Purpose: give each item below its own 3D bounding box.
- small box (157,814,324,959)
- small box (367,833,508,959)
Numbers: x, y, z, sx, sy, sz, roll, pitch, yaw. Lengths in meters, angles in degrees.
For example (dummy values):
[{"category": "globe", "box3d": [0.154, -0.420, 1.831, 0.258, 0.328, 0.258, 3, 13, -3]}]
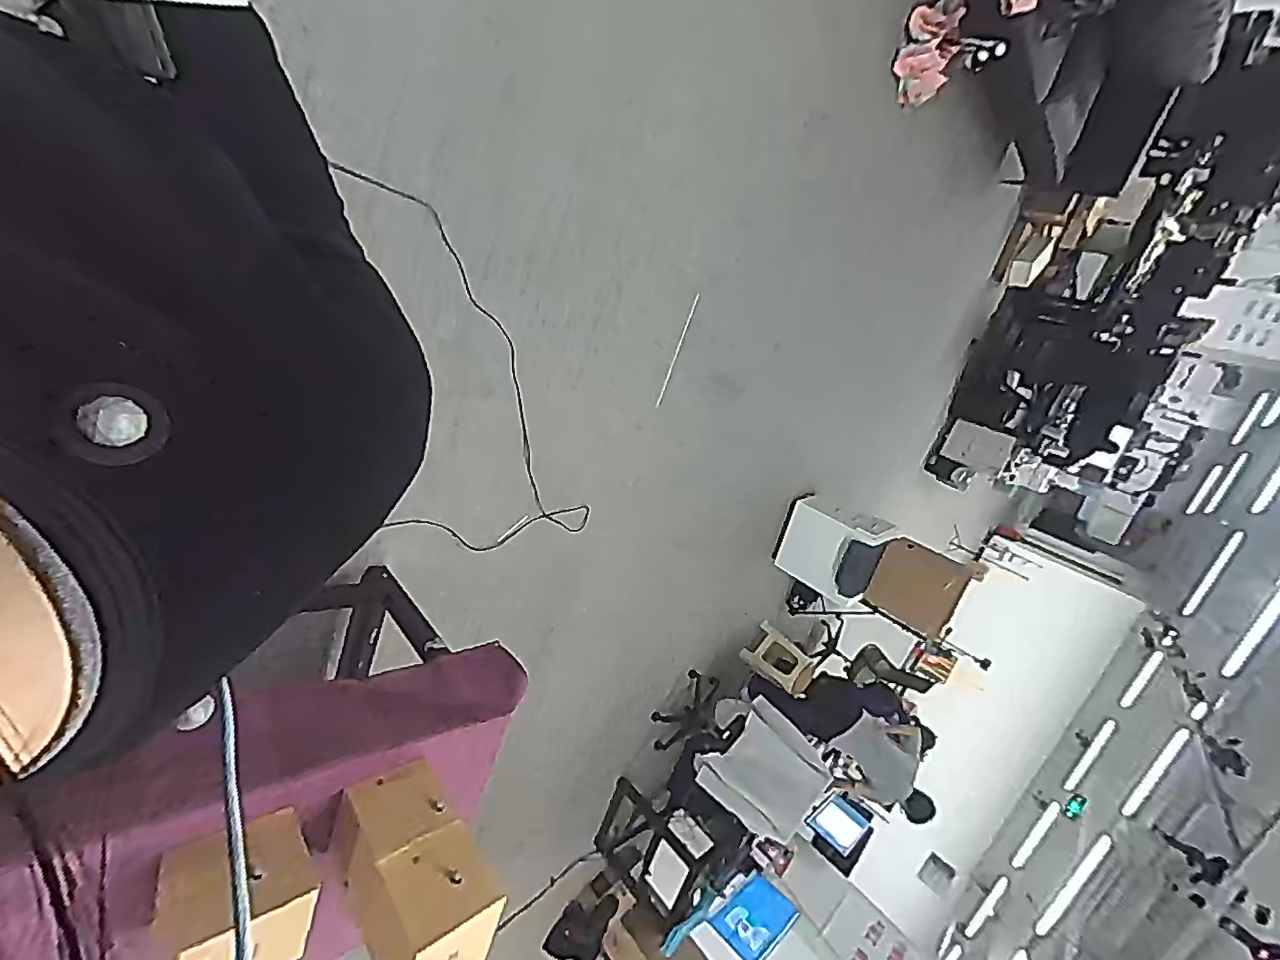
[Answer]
[{"category": "small box", "box3d": [-0.642, 0.685, 0.867, 0.179, 0.176, 0.168, 3, 112, -48]}, {"category": "small box", "box3d": [-0.364, 0.774, 0.961, 0.168, 0.176, 0.179, 0, 116, -46]}]
